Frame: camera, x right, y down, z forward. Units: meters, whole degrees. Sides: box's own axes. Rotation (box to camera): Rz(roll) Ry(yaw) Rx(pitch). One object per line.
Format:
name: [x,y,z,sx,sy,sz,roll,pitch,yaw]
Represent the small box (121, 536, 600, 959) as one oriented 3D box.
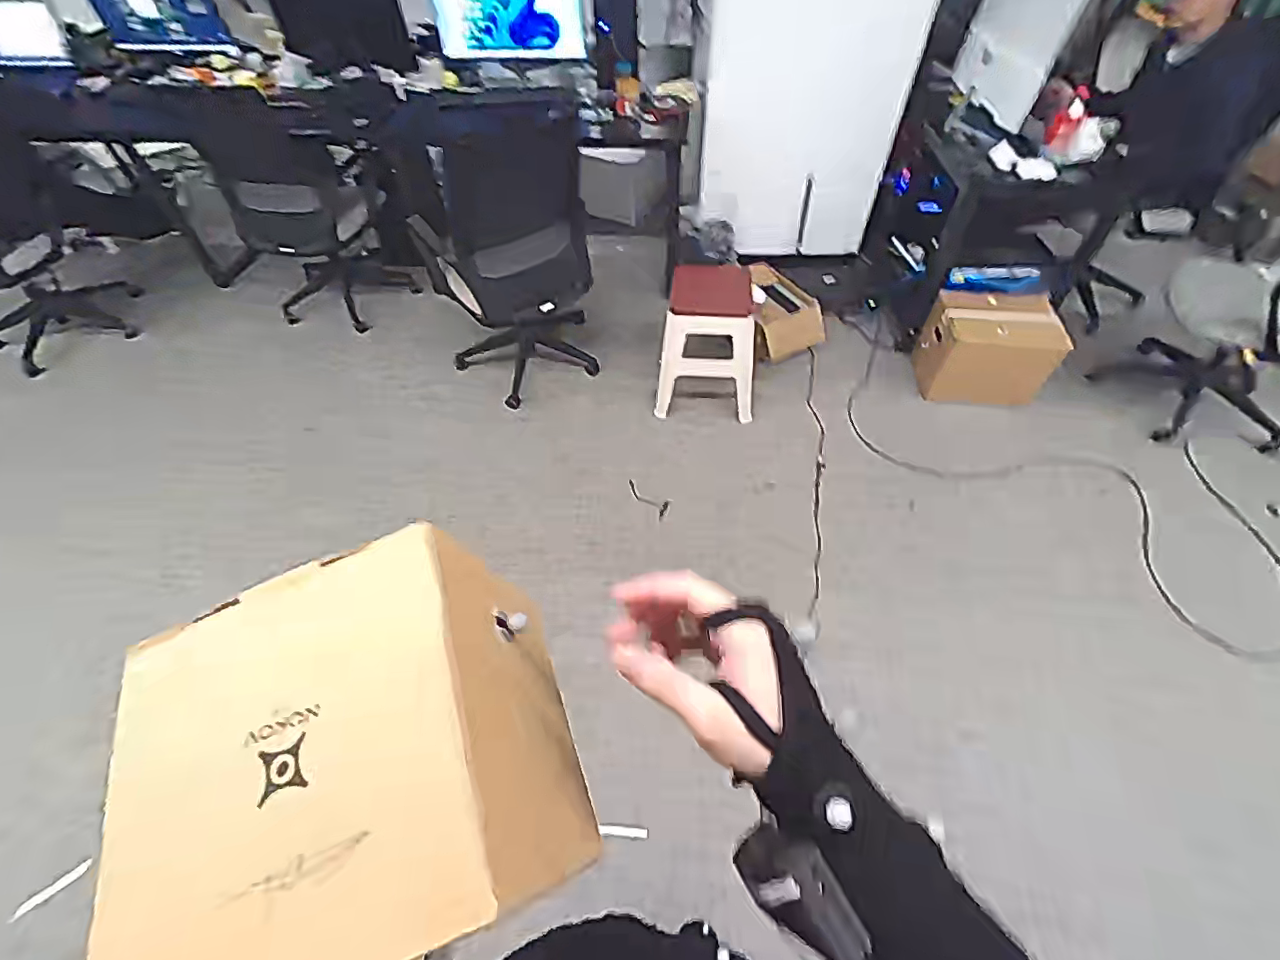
small box: [-0.139,0.165,0.318,0.168,0.176,0.179,-23,61,-1]
